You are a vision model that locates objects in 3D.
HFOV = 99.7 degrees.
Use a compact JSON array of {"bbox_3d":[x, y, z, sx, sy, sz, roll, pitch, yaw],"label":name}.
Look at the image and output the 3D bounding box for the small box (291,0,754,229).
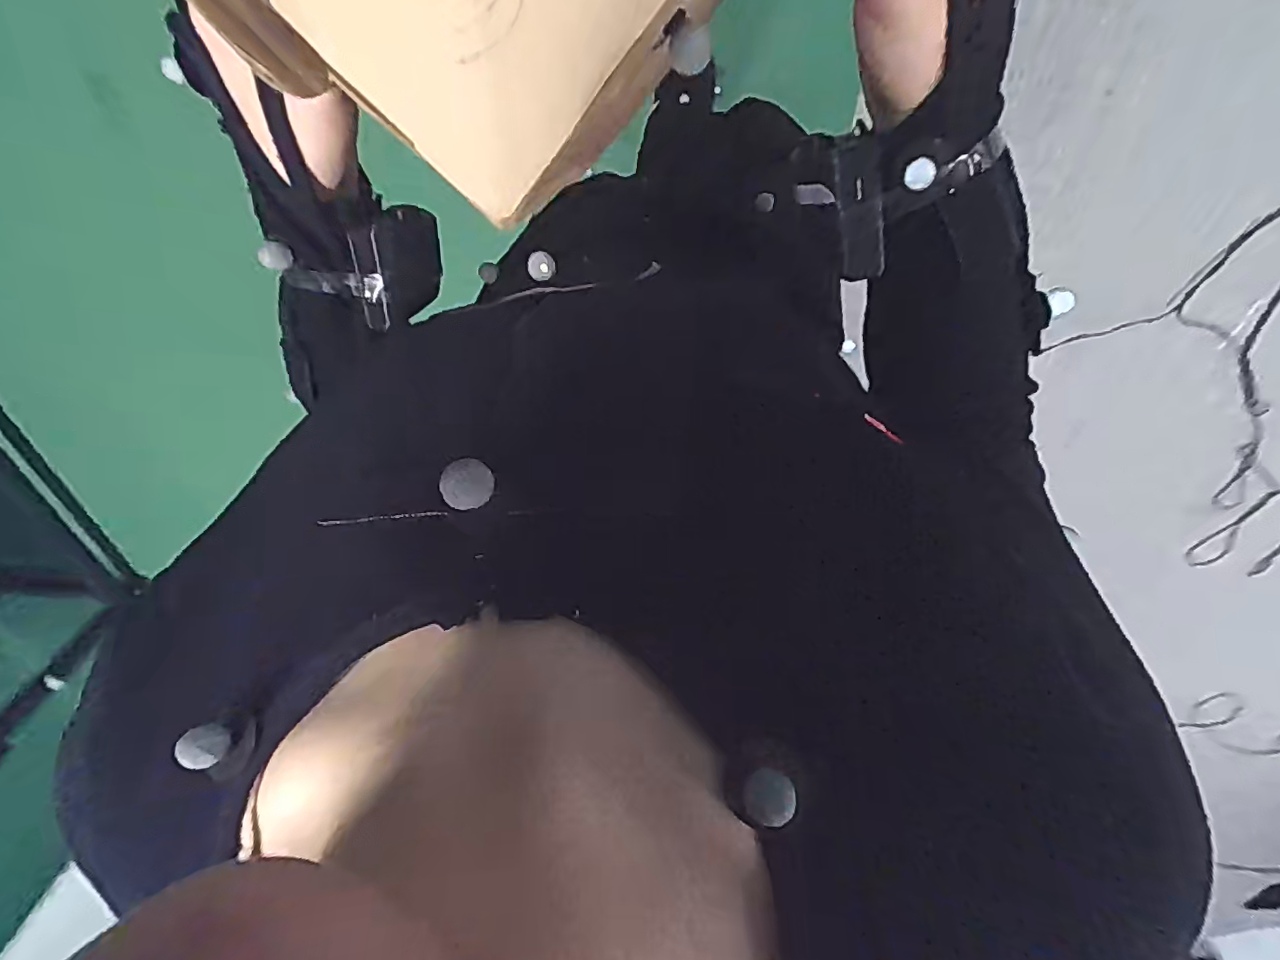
[{"bbox_3d":[-0.024,-0.223,0.174,0.168,0.176,0.179,40,121,-21],"label":"small box"}]
